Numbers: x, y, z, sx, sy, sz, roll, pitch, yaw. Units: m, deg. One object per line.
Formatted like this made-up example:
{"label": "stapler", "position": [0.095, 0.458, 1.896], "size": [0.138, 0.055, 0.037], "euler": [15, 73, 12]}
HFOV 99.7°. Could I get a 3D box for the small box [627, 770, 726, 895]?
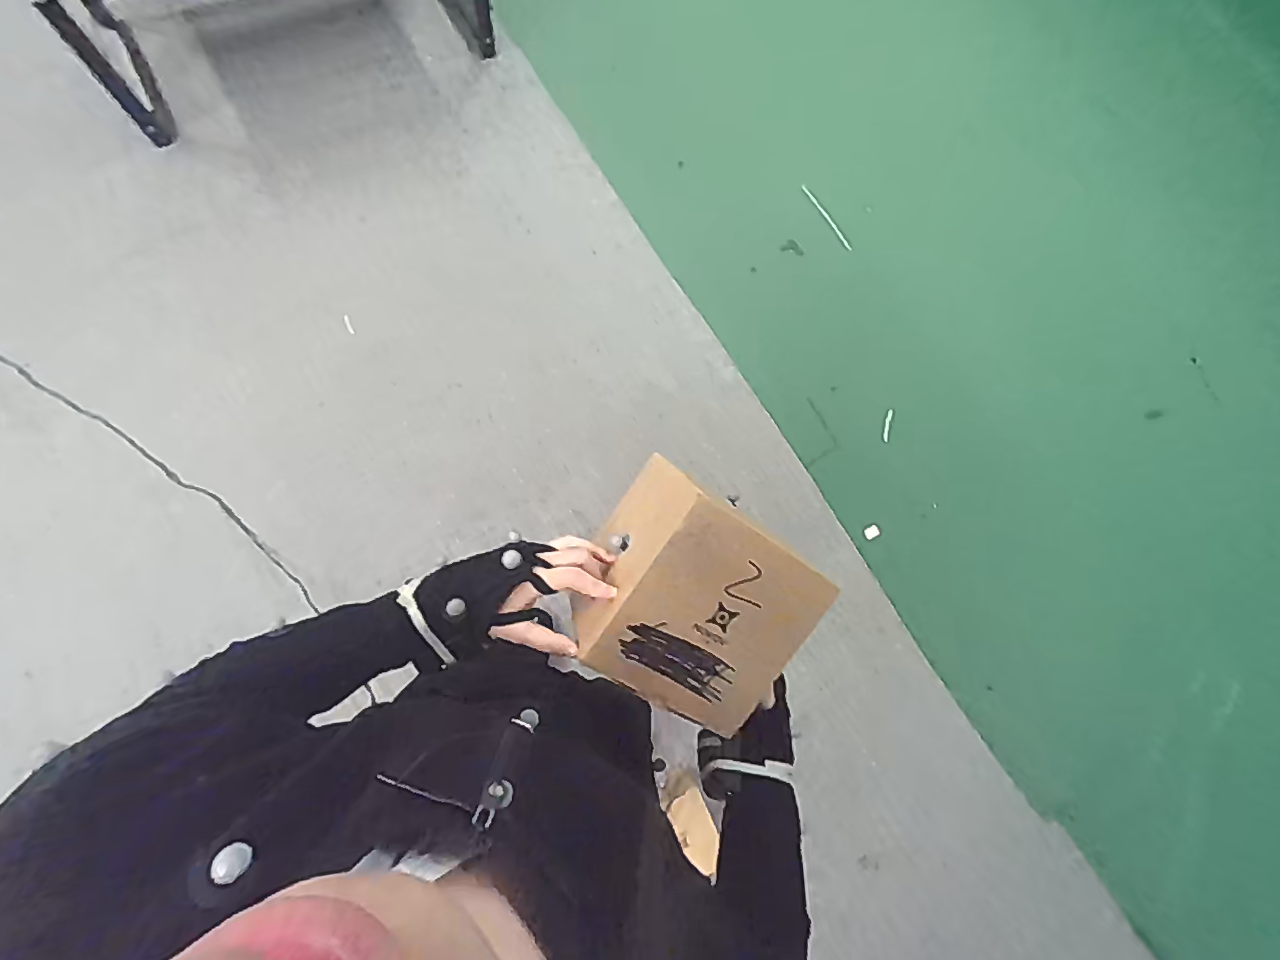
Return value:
{"label": "small box", "position": [0.081, 0.843, 1.316], "size": [0.168, 0.176, 0.179], "euler": [-23, 78, -14]}
